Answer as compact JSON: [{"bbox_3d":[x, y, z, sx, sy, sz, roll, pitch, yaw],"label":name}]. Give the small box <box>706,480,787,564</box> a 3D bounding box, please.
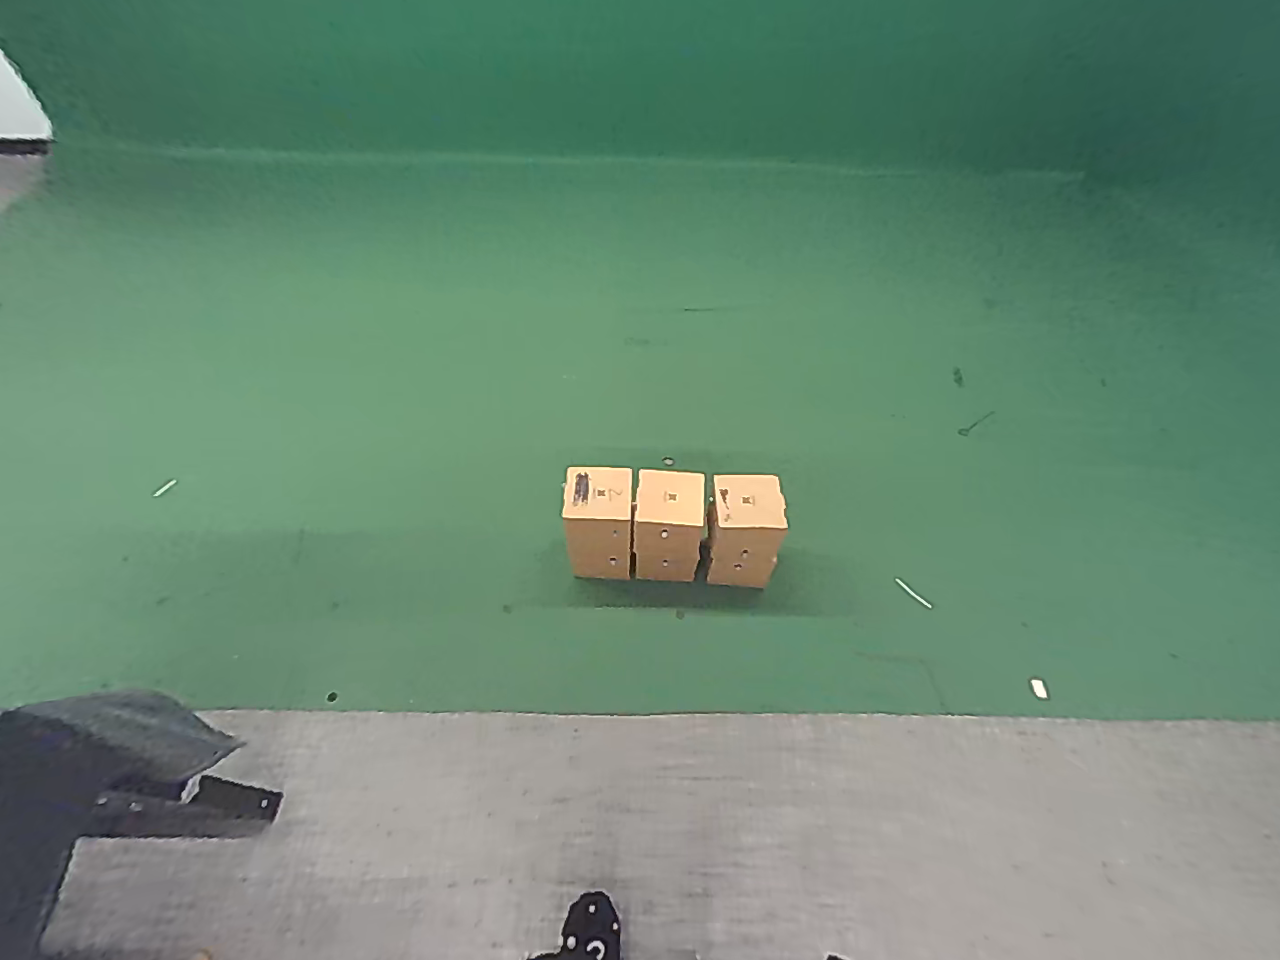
[{"bbox_3d":[0.280,0.116,1.460,0.179,0.176,0.168,2,53,-2],"label":"small box"}]
